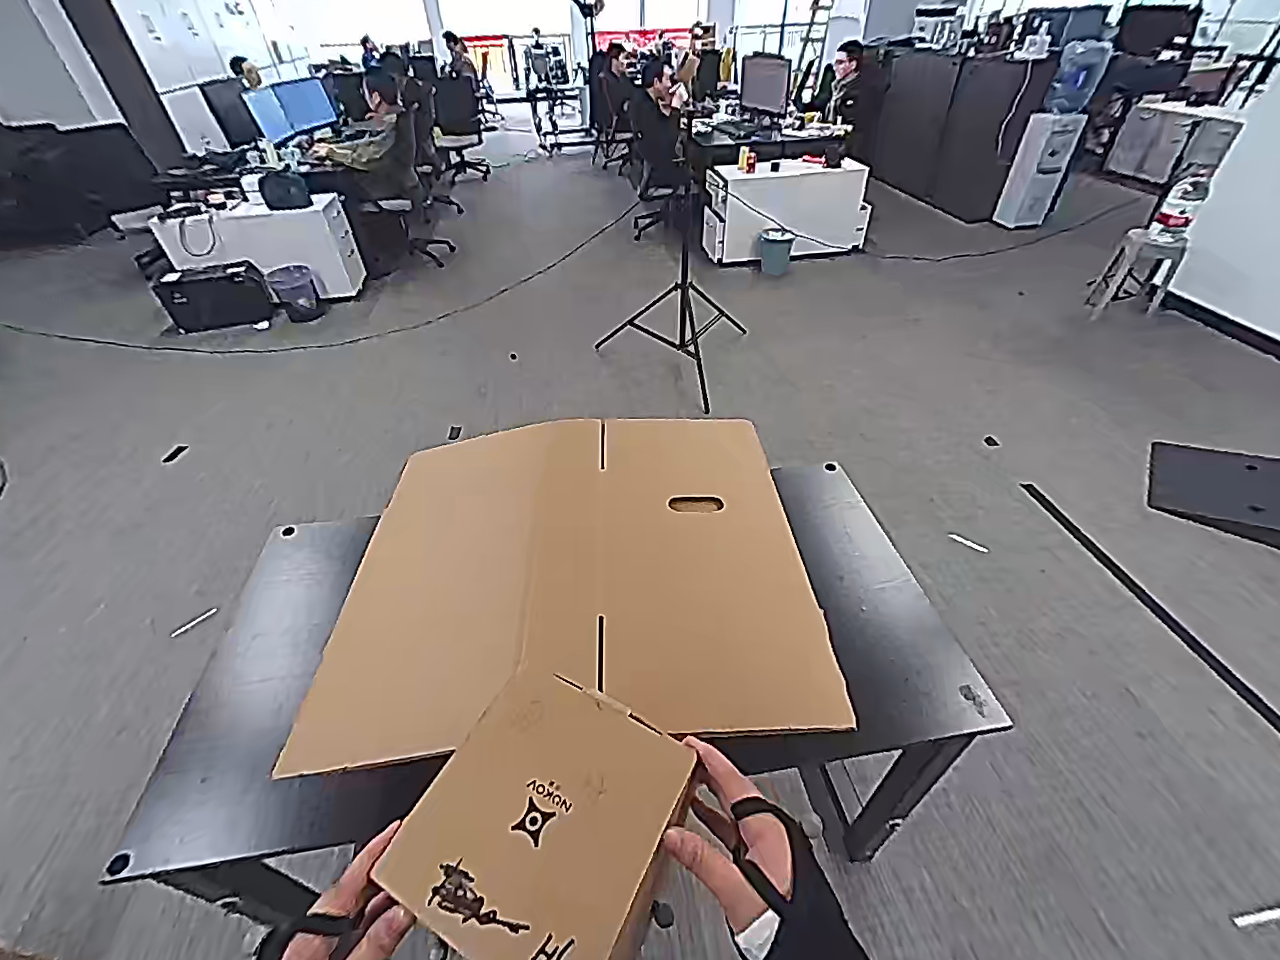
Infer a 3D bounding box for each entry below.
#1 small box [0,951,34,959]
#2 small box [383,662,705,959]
[{"bbox_3d":[-1.300,1.053,1.040,0.168,0.176,0.179,-10,42,-8],"label":"small box"},{"bbox_3d":[-0.060,0.291,0.438,0.168,0.176,0.179,19,48,23],"label":"small box"}]
